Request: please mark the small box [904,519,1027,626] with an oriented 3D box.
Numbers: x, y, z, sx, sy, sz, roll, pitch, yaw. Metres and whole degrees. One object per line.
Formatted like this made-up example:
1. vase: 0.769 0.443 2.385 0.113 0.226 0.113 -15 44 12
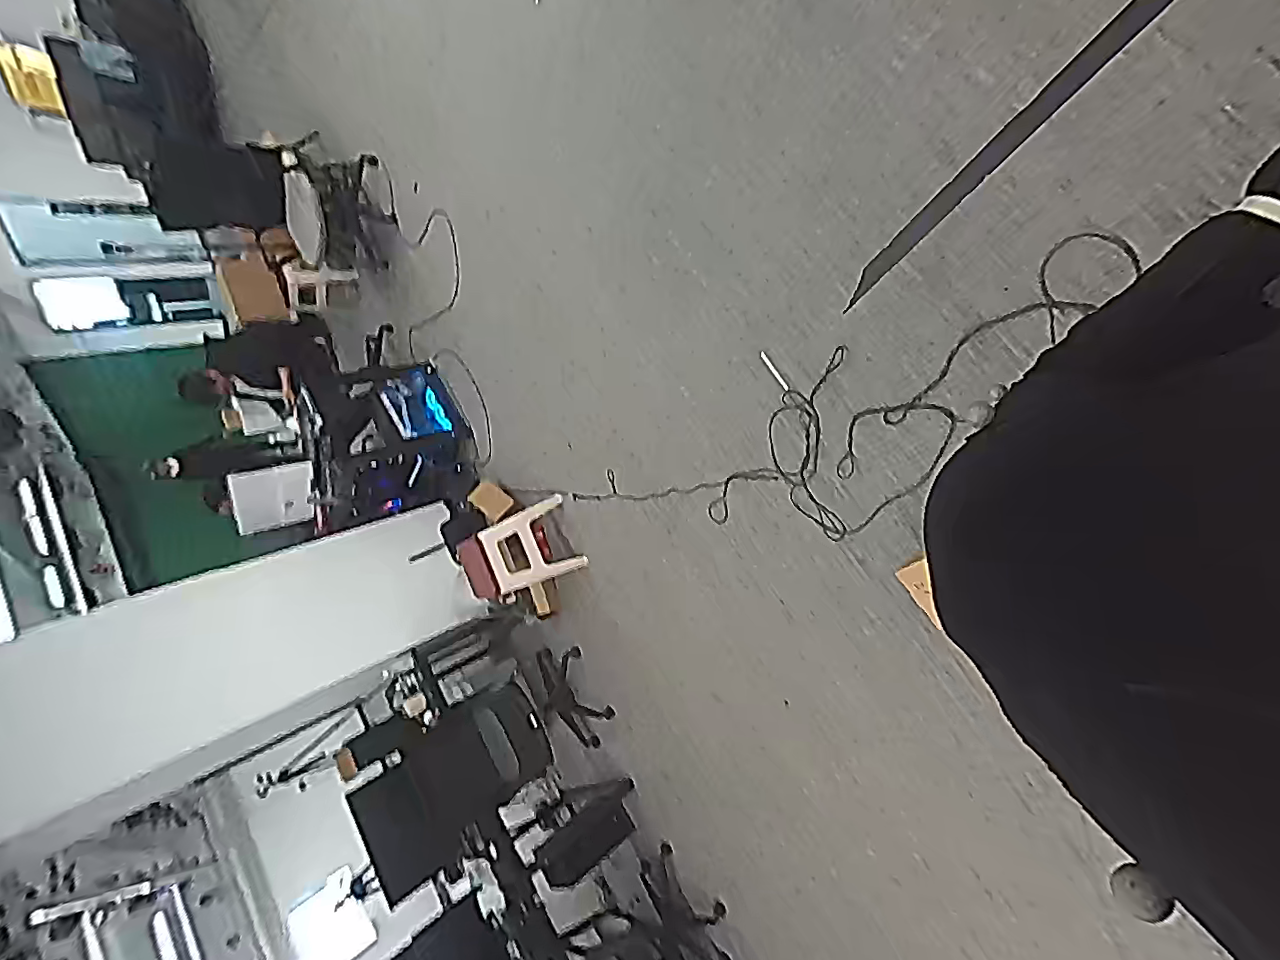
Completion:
1. small box: 0.780 0.215 1.286 0.168 0.176 0.179 57 141 15
